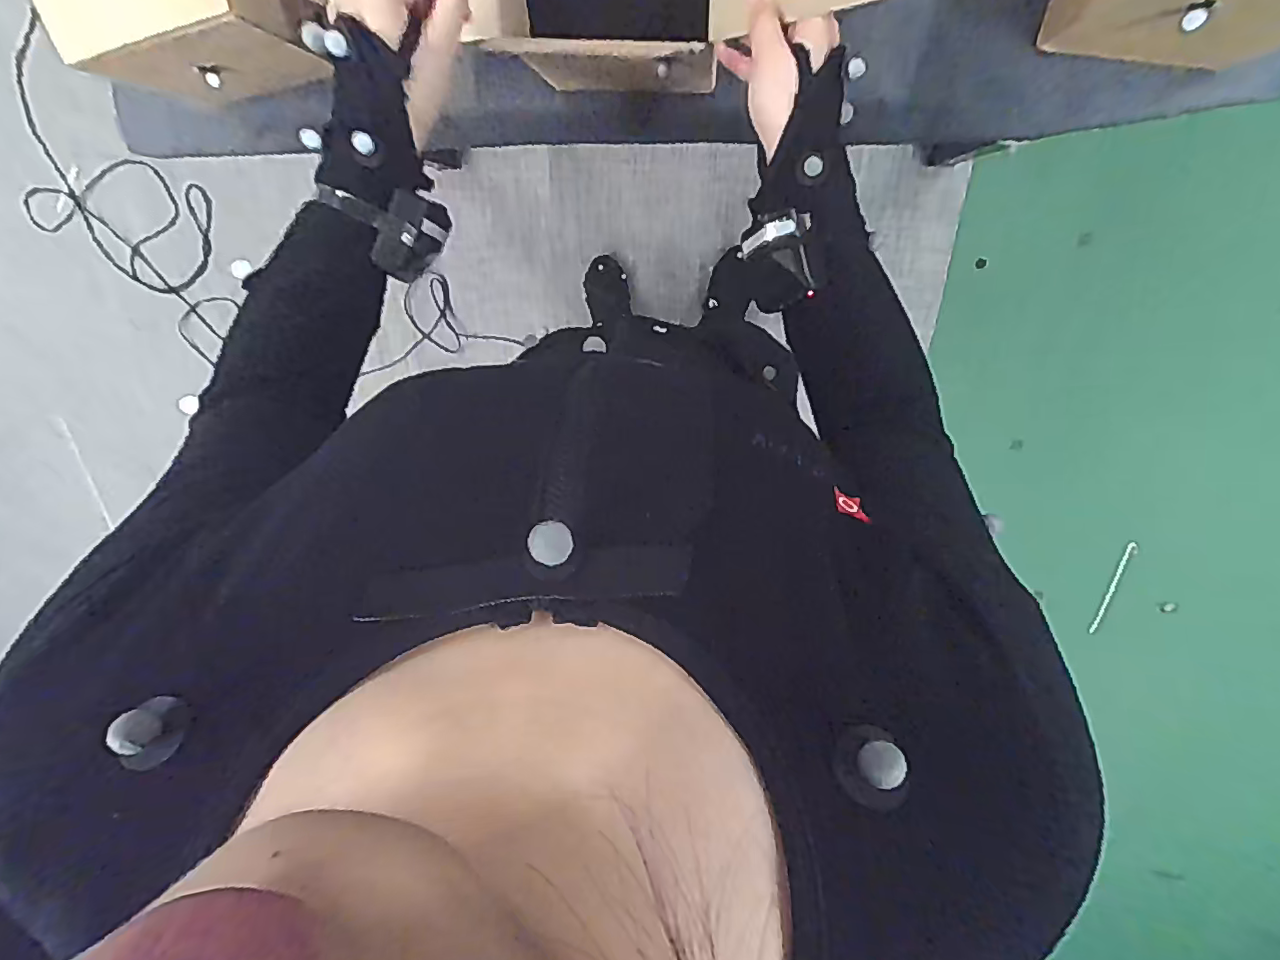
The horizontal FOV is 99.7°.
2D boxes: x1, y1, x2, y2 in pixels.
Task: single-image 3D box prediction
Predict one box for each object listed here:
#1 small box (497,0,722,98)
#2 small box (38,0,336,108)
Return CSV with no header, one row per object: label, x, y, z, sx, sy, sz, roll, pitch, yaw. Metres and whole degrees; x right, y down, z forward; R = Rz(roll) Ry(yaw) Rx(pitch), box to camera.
small box,-0.016,-0.451,0.474,0.179,0.176,0.168,5,115,5
small box,-0.423,-0.475,0.506,0.179,0.176,0.168,-7,113,10
